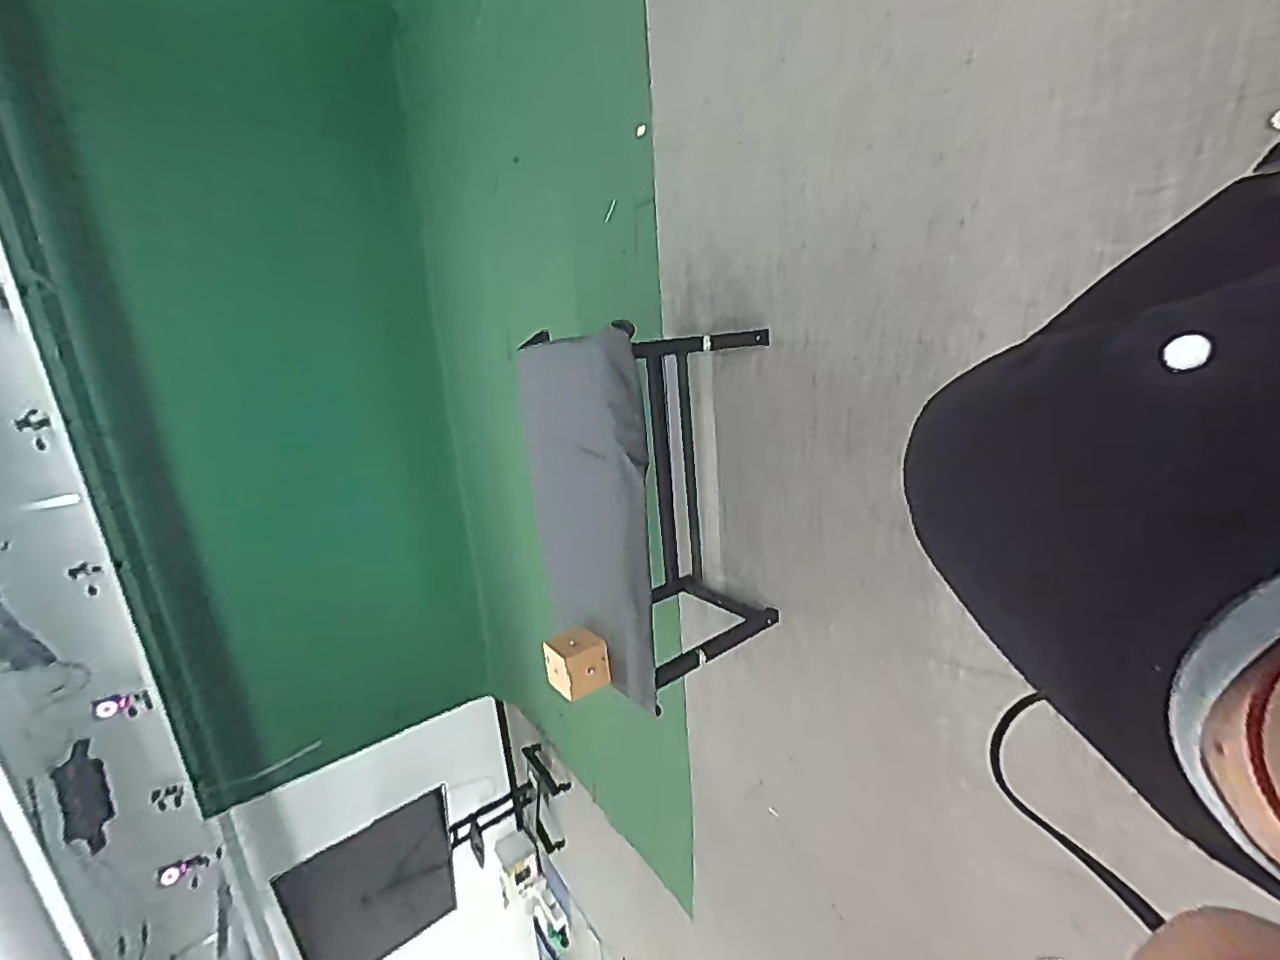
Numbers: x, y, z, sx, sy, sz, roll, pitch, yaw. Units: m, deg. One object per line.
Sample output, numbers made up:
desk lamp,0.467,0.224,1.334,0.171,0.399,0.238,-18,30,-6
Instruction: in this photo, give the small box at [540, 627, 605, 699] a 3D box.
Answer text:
small box,-0.237,0.655,1.960,0.179,0.176,0.168,9,109,52
